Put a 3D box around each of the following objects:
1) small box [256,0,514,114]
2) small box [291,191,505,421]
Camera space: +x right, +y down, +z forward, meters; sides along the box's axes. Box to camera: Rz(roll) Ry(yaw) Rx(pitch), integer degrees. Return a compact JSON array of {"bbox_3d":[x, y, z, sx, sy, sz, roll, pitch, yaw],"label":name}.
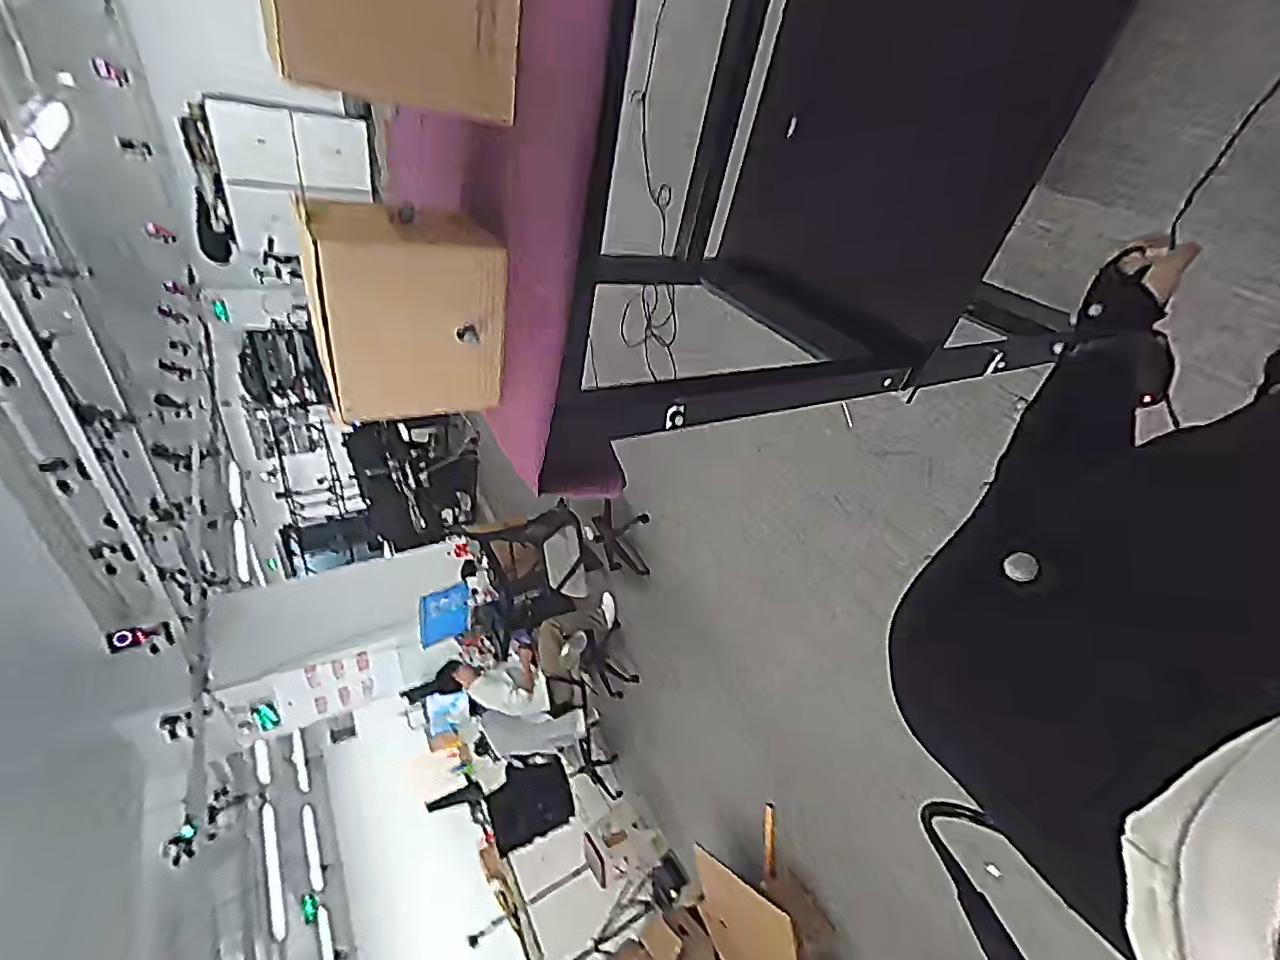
[{"bbox_3d":[-0.201,-0.403,0.417,0.179,0.176,0.168,52,140,38],"label":"small box"},{"bbox_3d":[-0.252,-0.186,0.576,0.168,0.176,0.179,48,137,40],"label":"small box"}]
